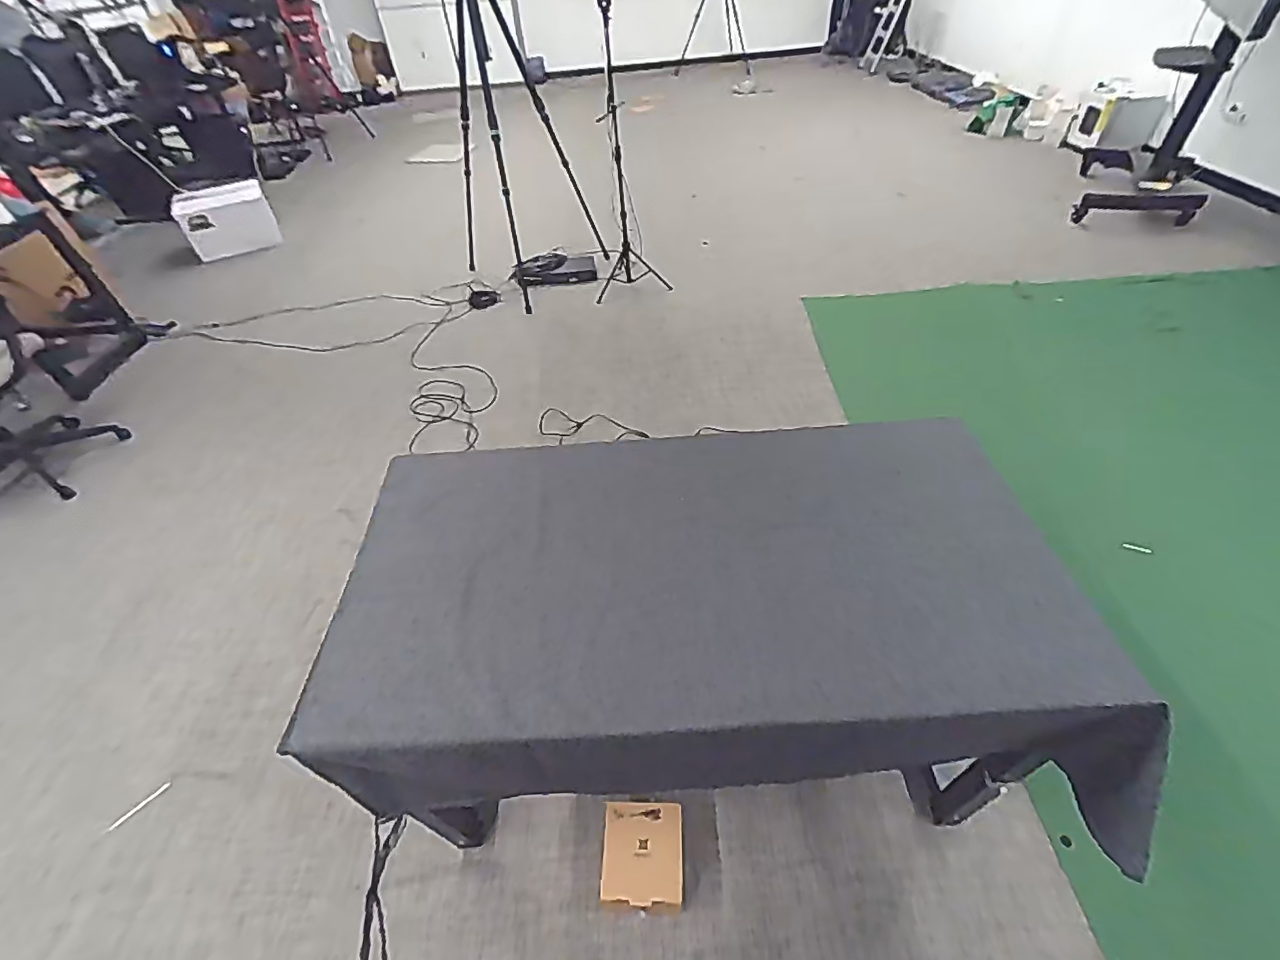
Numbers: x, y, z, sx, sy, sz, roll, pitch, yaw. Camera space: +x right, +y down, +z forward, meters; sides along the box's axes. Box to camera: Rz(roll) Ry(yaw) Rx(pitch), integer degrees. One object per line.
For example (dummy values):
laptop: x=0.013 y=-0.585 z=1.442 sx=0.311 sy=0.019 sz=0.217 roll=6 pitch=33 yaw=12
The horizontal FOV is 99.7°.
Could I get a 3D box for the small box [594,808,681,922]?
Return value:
small box: x=0.002 y=0.825 z=1.155 sx=0.168 sy=0.176 sz=0.179 roll=-1 pitch=45 yaw=5
